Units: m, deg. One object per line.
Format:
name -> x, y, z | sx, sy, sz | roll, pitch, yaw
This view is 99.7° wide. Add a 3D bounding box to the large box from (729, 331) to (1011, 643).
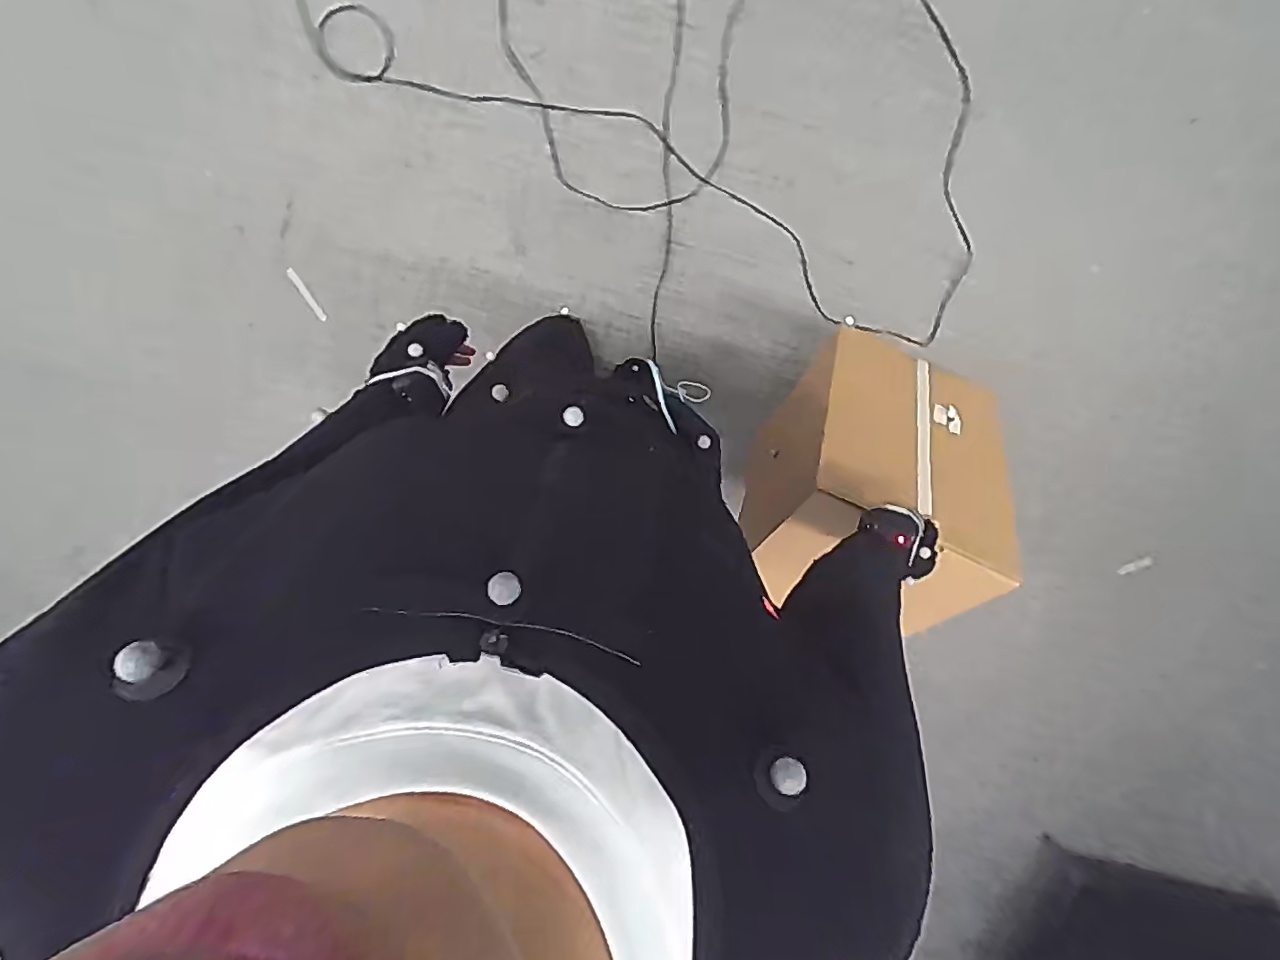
large box -> 0.390, 0.015, 0.977 | 0.320, 0.408, 0.320 | 25, 141, -2
